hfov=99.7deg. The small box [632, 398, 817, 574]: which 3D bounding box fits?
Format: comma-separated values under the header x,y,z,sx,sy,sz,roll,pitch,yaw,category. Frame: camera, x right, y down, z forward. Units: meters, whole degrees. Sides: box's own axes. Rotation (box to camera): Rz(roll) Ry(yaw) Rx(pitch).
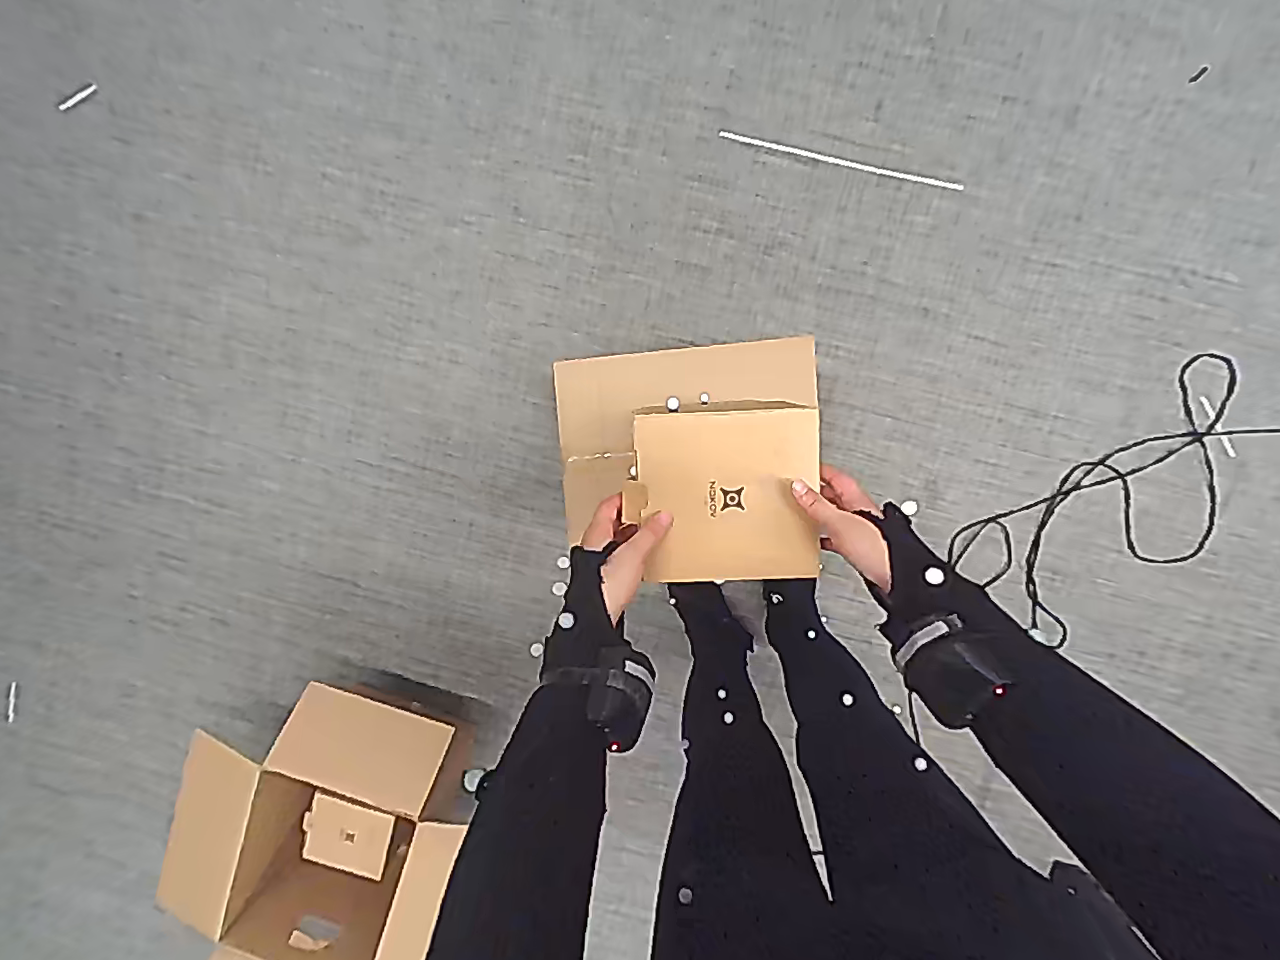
x,y,z,sx,sy,sz,roll,pitch,yaw,category
0.089,-0.003,0.607,0.179,0.176,0.168,-4,99,5,small box
